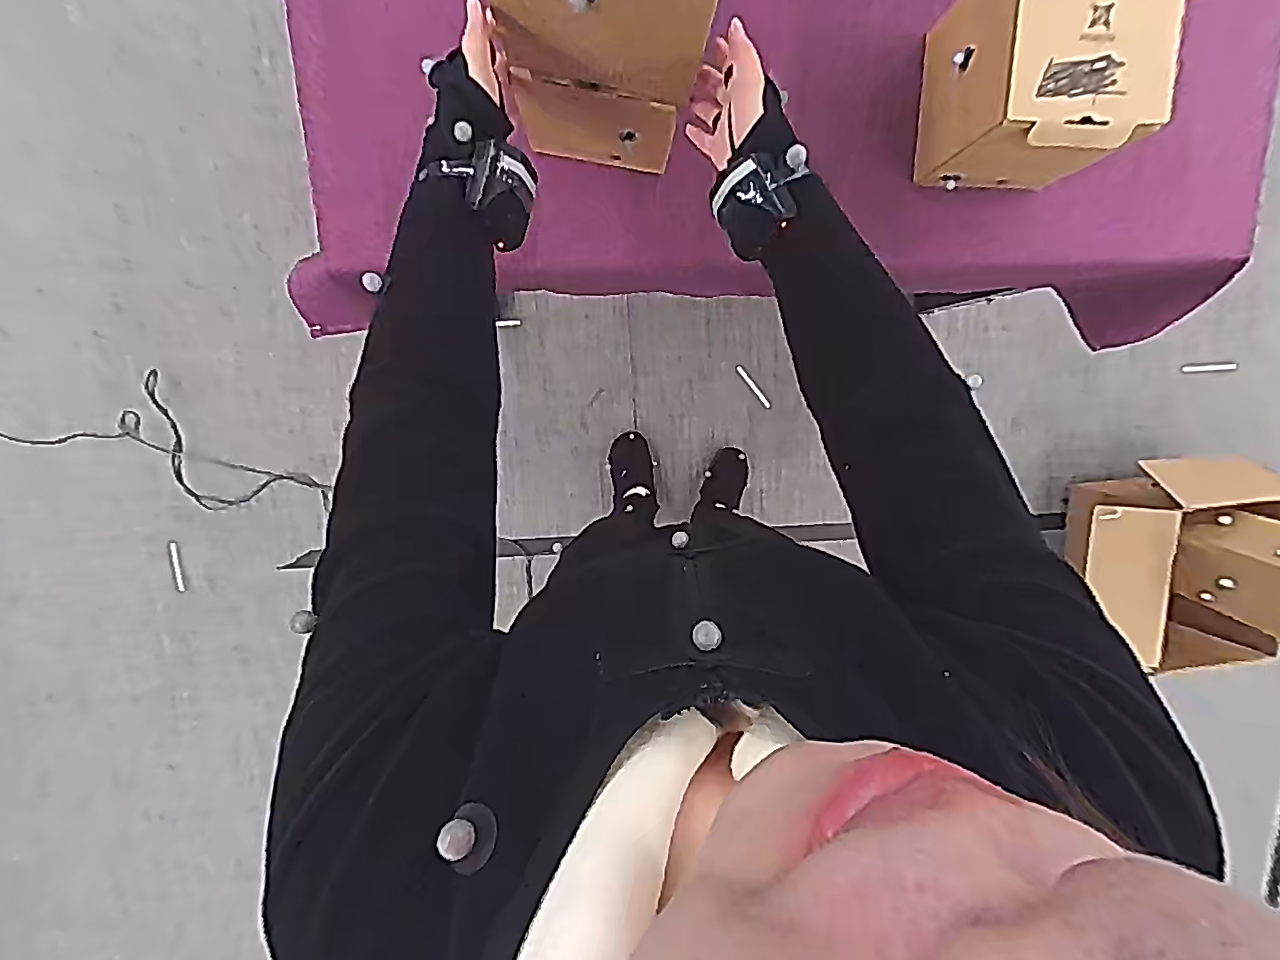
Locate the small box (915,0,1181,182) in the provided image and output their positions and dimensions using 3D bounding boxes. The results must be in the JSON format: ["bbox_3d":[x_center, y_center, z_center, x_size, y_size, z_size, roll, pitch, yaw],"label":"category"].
[{"bbox_3d":[0.428,-0.449,0.595,0.168,0.176,0.179,0,99,-3],"label":"small box"}]

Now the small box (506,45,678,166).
[{"bbox_3d":[-0.035,-0.464,0.571,0.168,0.176,0.179,8,99,-5],"label":"small box"}]

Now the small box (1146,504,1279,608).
[{"bbox_3d":[1.385,0.173,1.309,0.168,0.176,0.179,-24,104,4],"label":"small box"}]

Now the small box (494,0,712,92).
[{"bbox_3d":[-0.021,-0.436,0.410,0.179,0.176,0.168,9,100,-6],"label":"small box"}]
